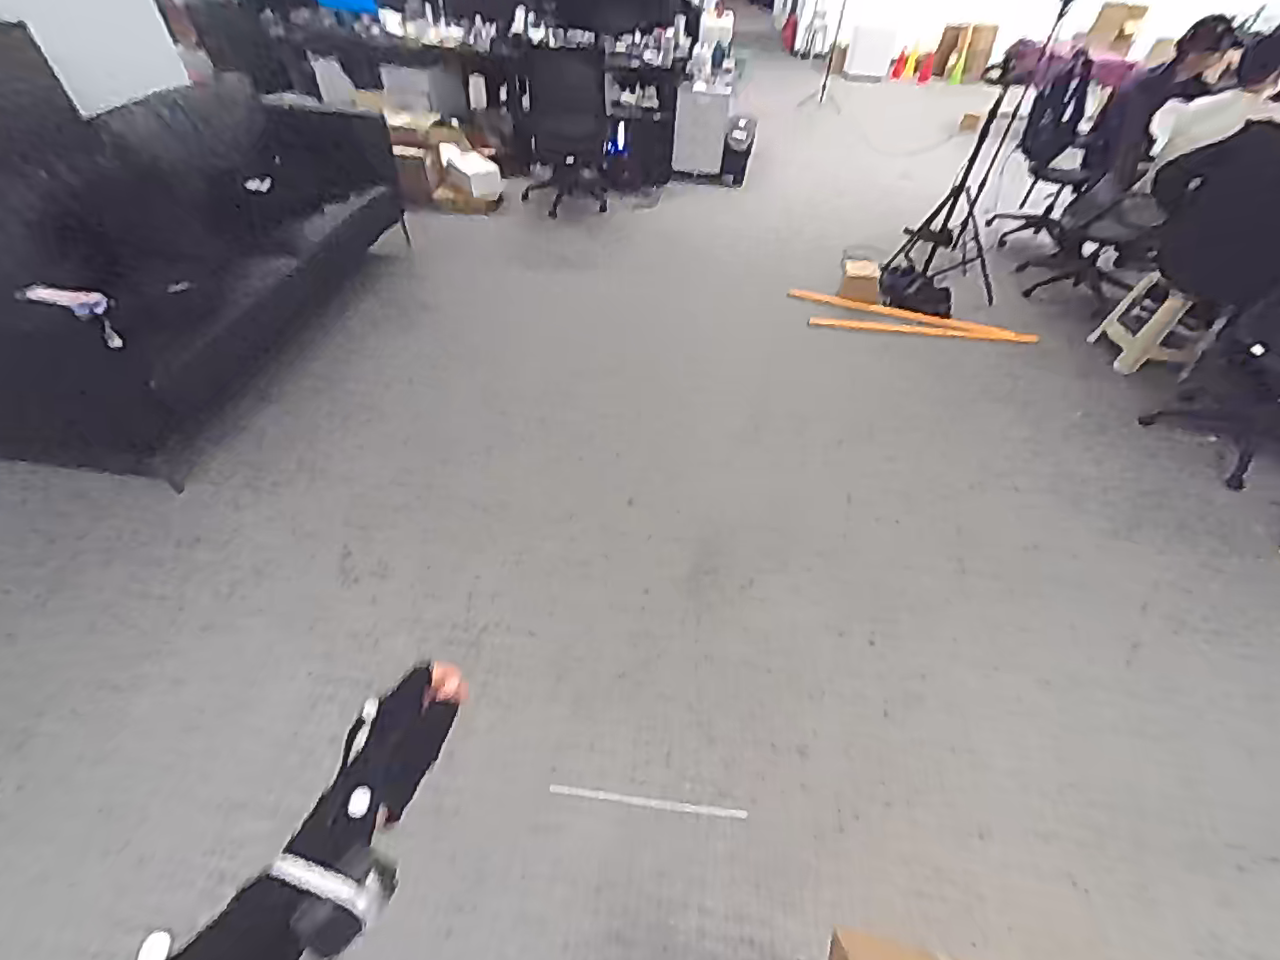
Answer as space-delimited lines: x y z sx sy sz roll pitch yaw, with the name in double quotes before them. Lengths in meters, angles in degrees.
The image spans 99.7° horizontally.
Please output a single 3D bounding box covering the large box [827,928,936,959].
"large box" 0.378 0.791 0.554 0.320 0.408 0.320 14 79 5
